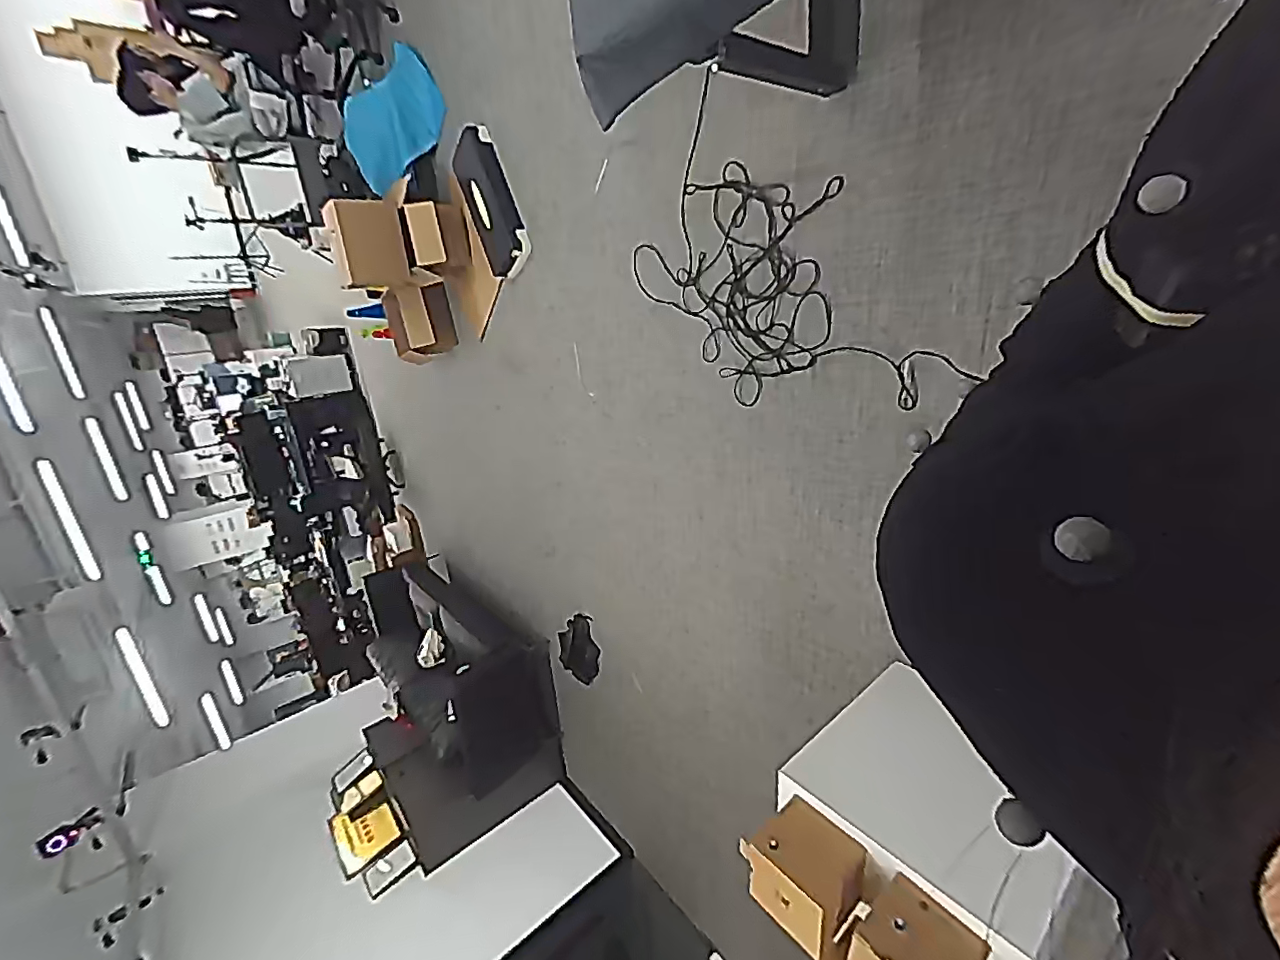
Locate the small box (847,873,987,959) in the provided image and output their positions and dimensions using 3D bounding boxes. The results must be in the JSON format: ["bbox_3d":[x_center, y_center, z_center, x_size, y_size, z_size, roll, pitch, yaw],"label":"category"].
[{"bbox_3d":[0.493,0.871,0.973,0.168,0.176,0.179,26,126,47],"label":"small box"}]
